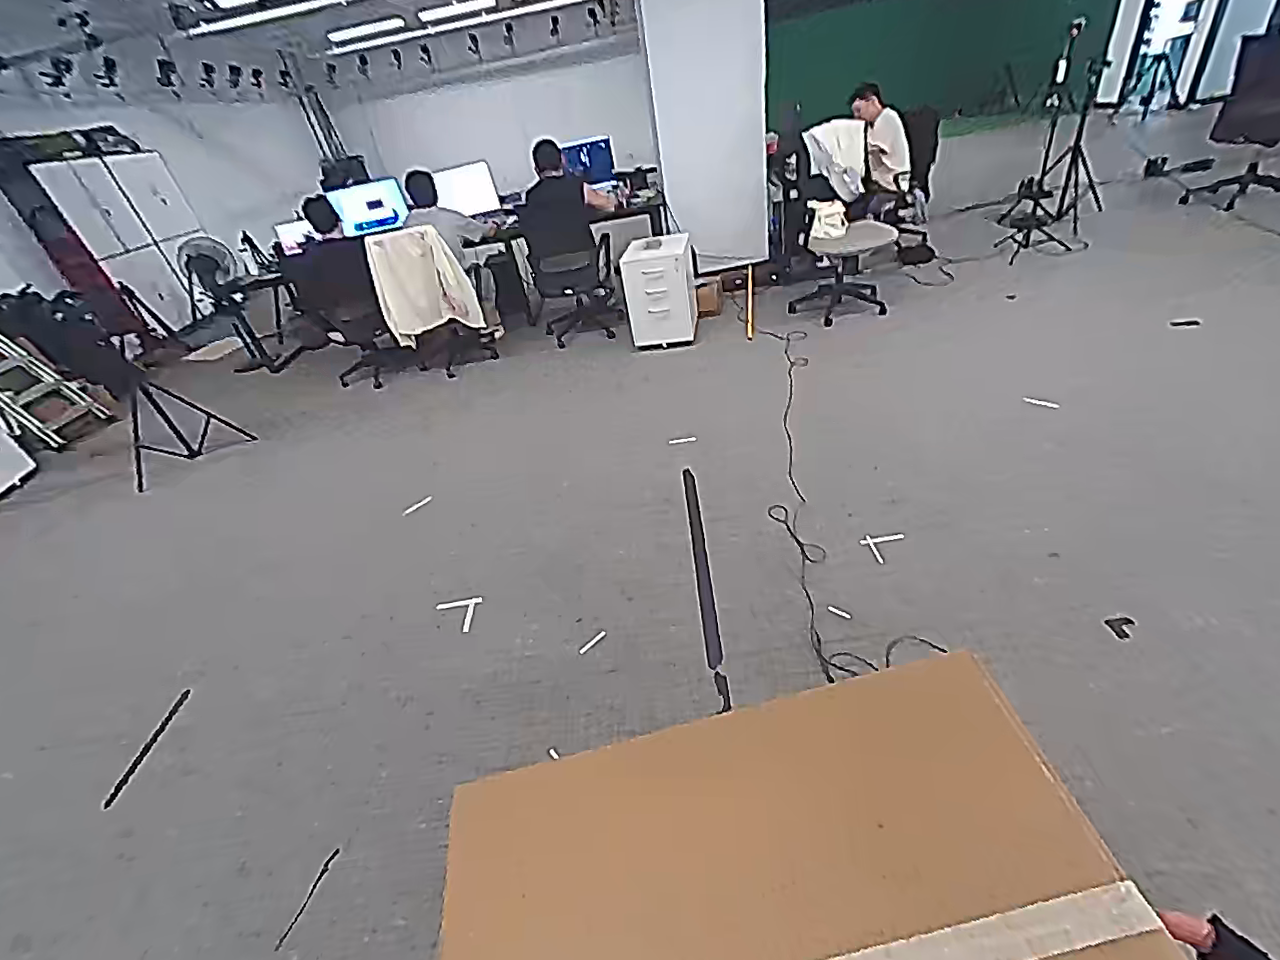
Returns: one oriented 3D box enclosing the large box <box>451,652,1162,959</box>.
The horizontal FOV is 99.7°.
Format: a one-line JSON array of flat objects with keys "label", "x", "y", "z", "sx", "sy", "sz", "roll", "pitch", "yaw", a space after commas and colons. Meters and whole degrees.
[{"label": "large box", "x": 0.112, "y": 0.390, "z": 0.408, "sx": 0.408, "sy": 0.320, "sz": 0.320, "roll": -17, "pitch": 42, "yaw": 2}]
